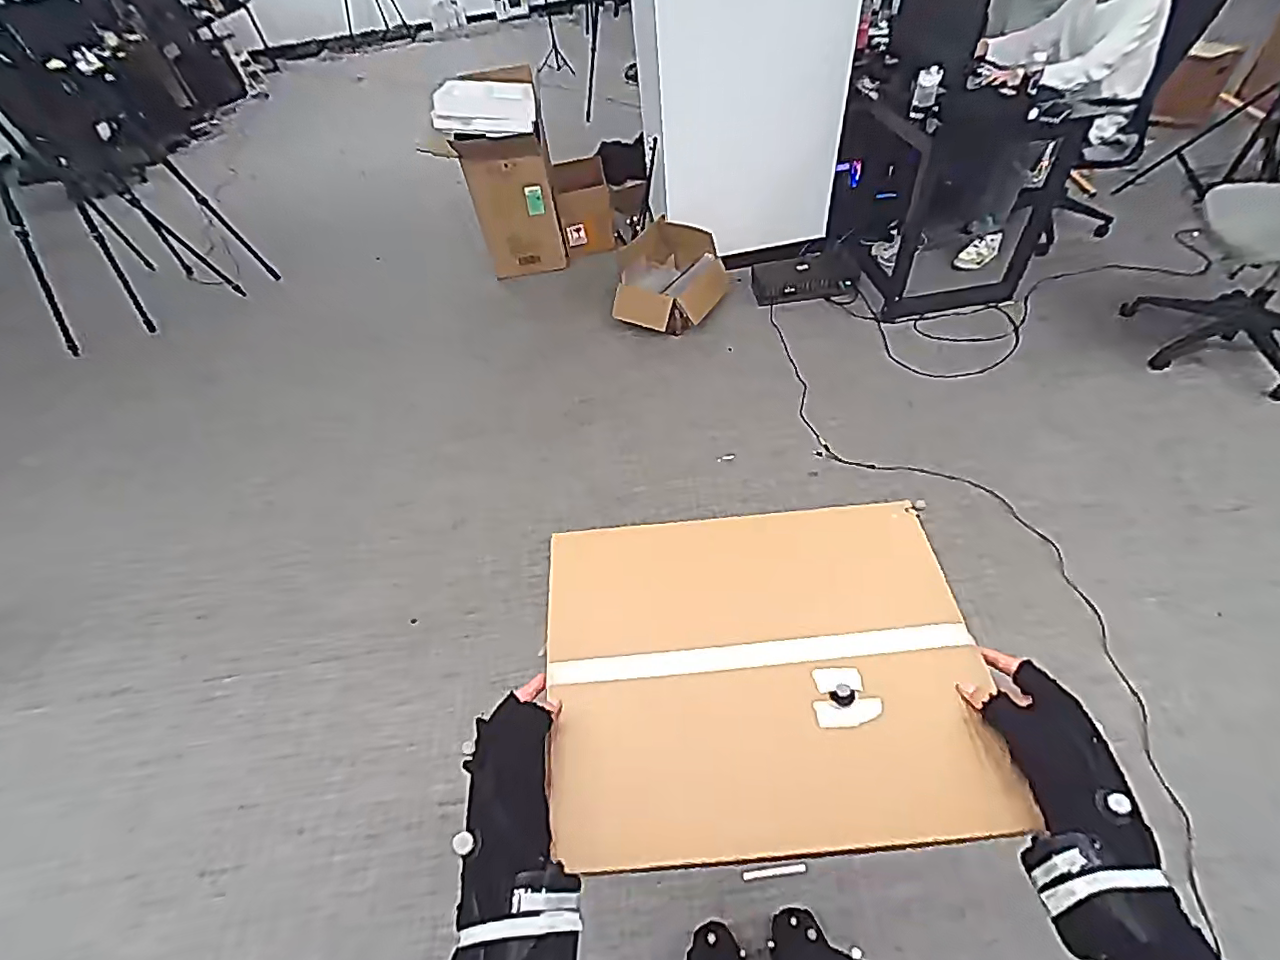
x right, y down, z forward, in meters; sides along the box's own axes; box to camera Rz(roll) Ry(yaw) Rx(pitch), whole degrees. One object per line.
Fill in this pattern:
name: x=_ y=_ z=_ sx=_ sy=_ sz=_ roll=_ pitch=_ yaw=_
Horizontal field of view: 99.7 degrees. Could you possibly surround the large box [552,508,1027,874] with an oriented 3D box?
large box: x=0.120 y=0.262 z=0.650 sx=0.408 sy=0.320 sz=0.320 roll=-5 pitch=54 yaw=0
